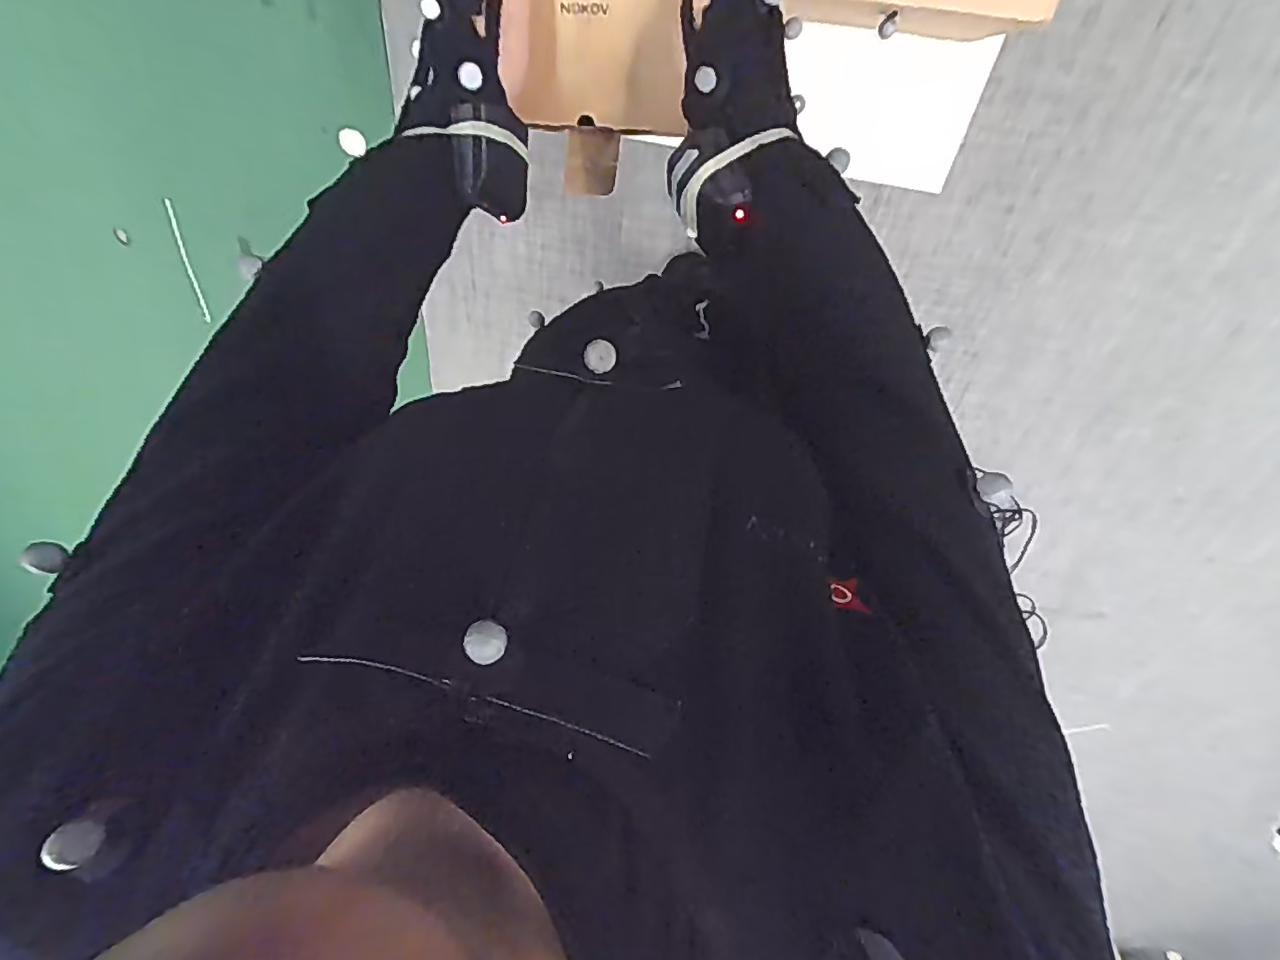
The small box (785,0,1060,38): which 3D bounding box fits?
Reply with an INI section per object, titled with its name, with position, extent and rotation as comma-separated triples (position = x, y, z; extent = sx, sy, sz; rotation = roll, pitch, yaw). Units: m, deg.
[small box]
position = 0.203, -0.419, 0.368
extent = 0.179, 0.176, 0.168
rotation = 11, 128, 5
